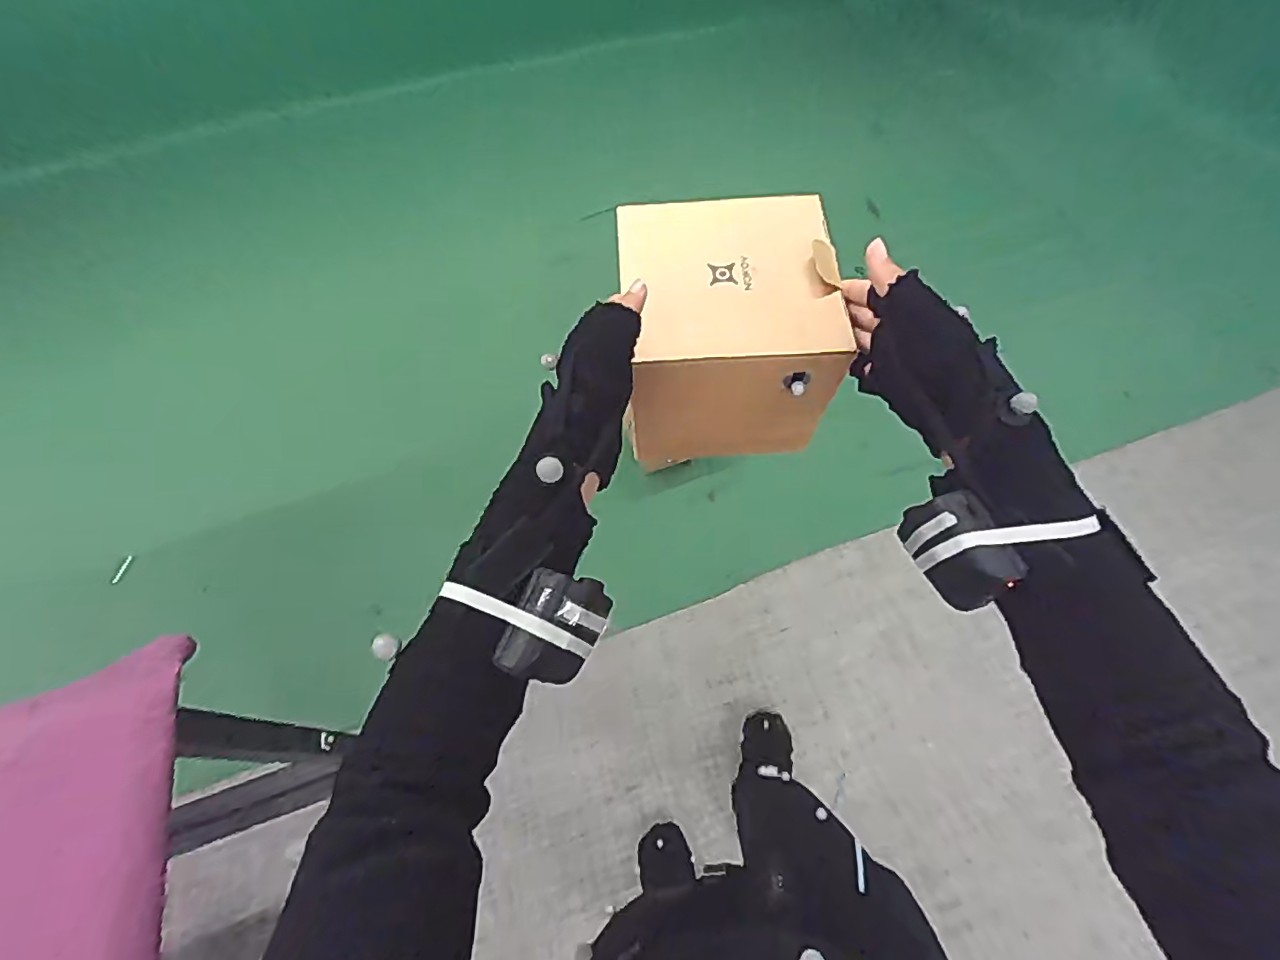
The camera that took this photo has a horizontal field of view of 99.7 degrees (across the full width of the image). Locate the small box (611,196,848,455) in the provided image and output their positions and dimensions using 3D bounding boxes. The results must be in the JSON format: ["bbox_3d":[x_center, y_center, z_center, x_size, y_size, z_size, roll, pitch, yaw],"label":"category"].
[{"bbox_3d":[0.069,-0.133,0.507,0.179,0.176,0.168,-4,65,0],"label":"small box"}]

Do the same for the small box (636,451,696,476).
[{"bbox_3d":[0.063,-0.142,1.630,0.168,0.176,0.179,-19,60,-7],"label":"small box"}]
